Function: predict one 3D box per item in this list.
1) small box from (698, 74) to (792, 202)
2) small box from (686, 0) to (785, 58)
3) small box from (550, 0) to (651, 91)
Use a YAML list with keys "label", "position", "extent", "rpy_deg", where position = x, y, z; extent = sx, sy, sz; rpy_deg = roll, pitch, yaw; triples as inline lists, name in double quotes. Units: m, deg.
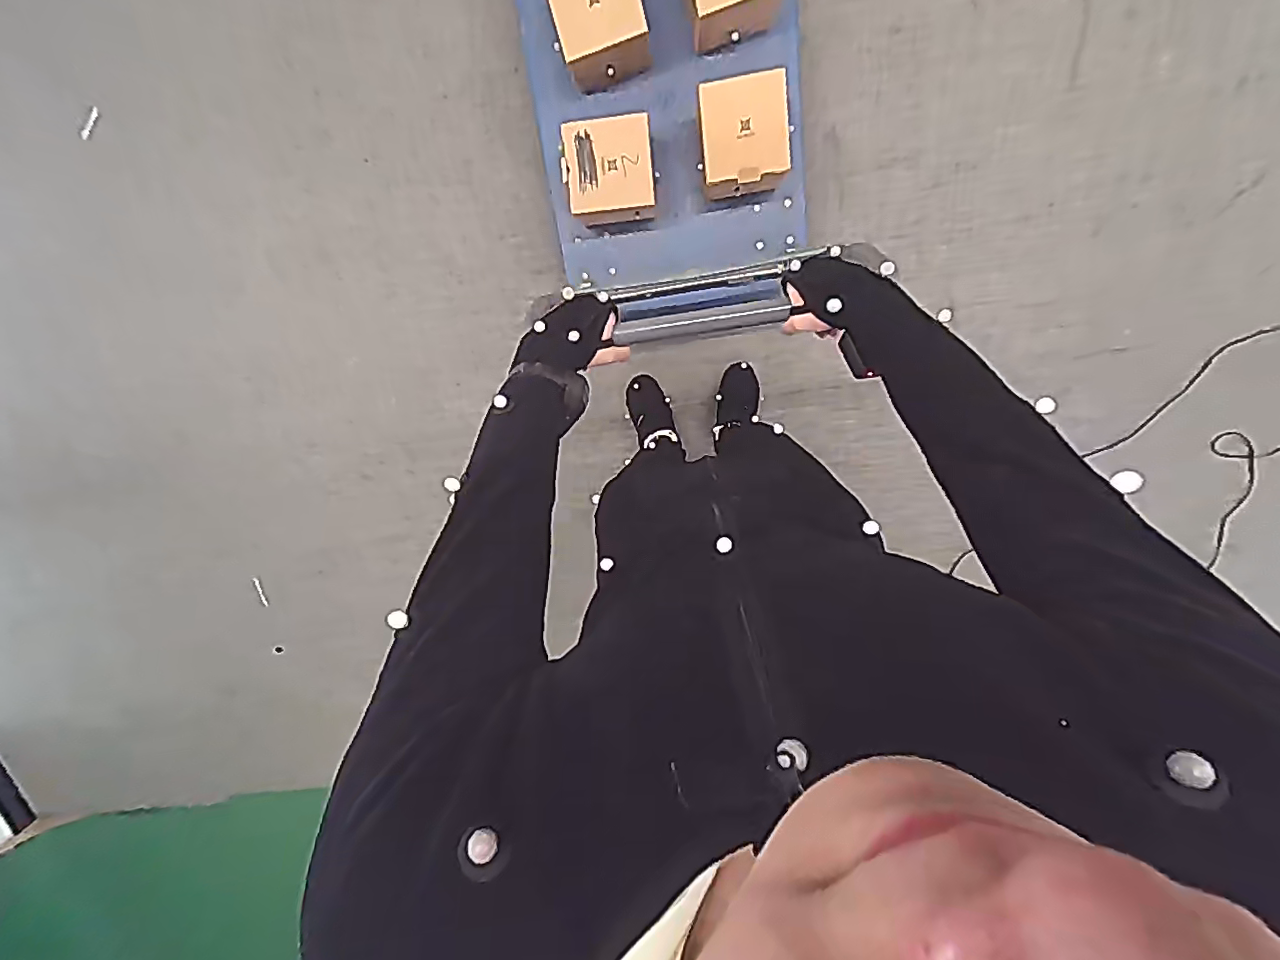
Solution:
- label: "small box"
  position: [0.213, -0.700, 1.127]
  extent: [0.168, 0.176, 0.179]
  rpy_deg: [-7, 108, 6]
- label: "small box"
  position: [0.173, -0.969, 1.040]
  extent: [0.168, 0.176, 0.179]
  rpy_deg: [-14, 107, 9]
- label: "small box"
  position: [-0.078, -0.912, 1.077]
  extent: [0.168, 0.176, 0.179]
  rpy_deg: [-15, 106, 8]
